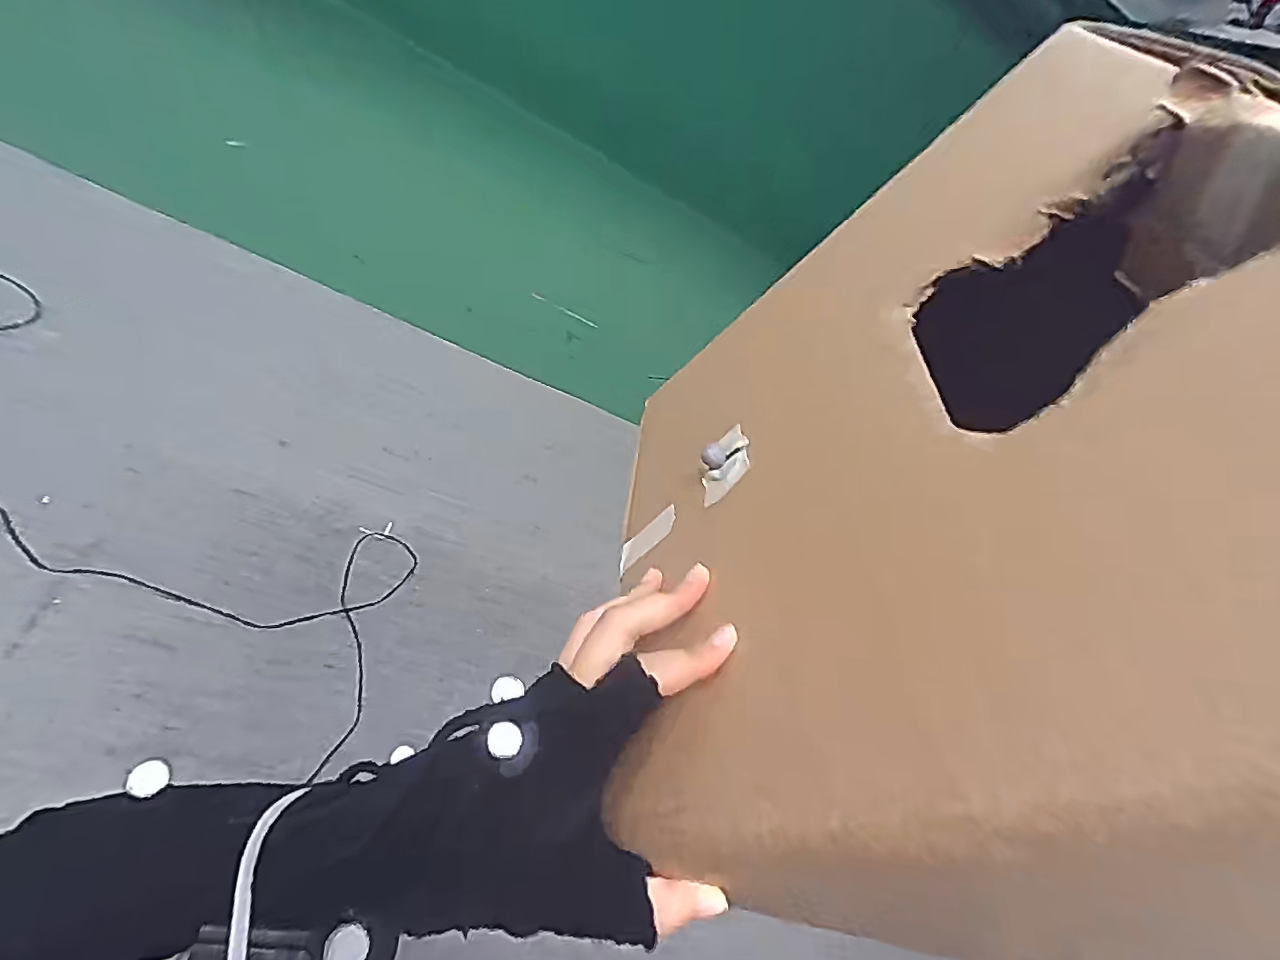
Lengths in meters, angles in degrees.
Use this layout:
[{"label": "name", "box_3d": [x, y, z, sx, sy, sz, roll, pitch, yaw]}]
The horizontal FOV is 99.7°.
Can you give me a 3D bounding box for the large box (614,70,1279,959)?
[{"label": "large box", "box_3d": [0.240, 0.078, 0.329, 0.408, 0.320, 0.320, 33, 42, -25]}]
